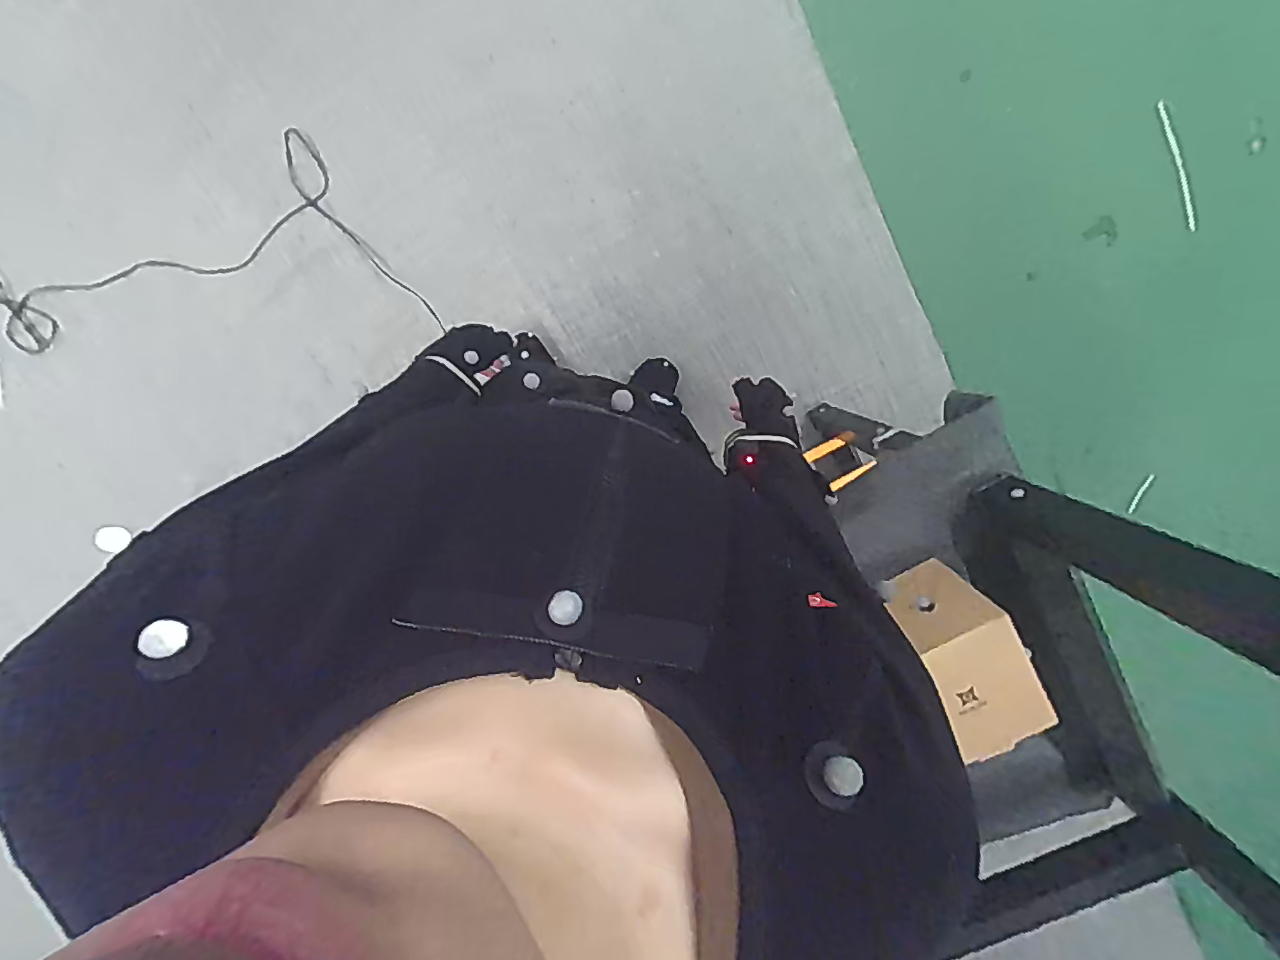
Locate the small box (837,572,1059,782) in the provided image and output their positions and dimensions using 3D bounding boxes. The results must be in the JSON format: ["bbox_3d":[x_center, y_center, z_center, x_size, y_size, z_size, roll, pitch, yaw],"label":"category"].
[{"bbox_3d":[0.391,0.245,0.718,0.168,0.176,0.179,-30,103,8],"label":"small box"}]
